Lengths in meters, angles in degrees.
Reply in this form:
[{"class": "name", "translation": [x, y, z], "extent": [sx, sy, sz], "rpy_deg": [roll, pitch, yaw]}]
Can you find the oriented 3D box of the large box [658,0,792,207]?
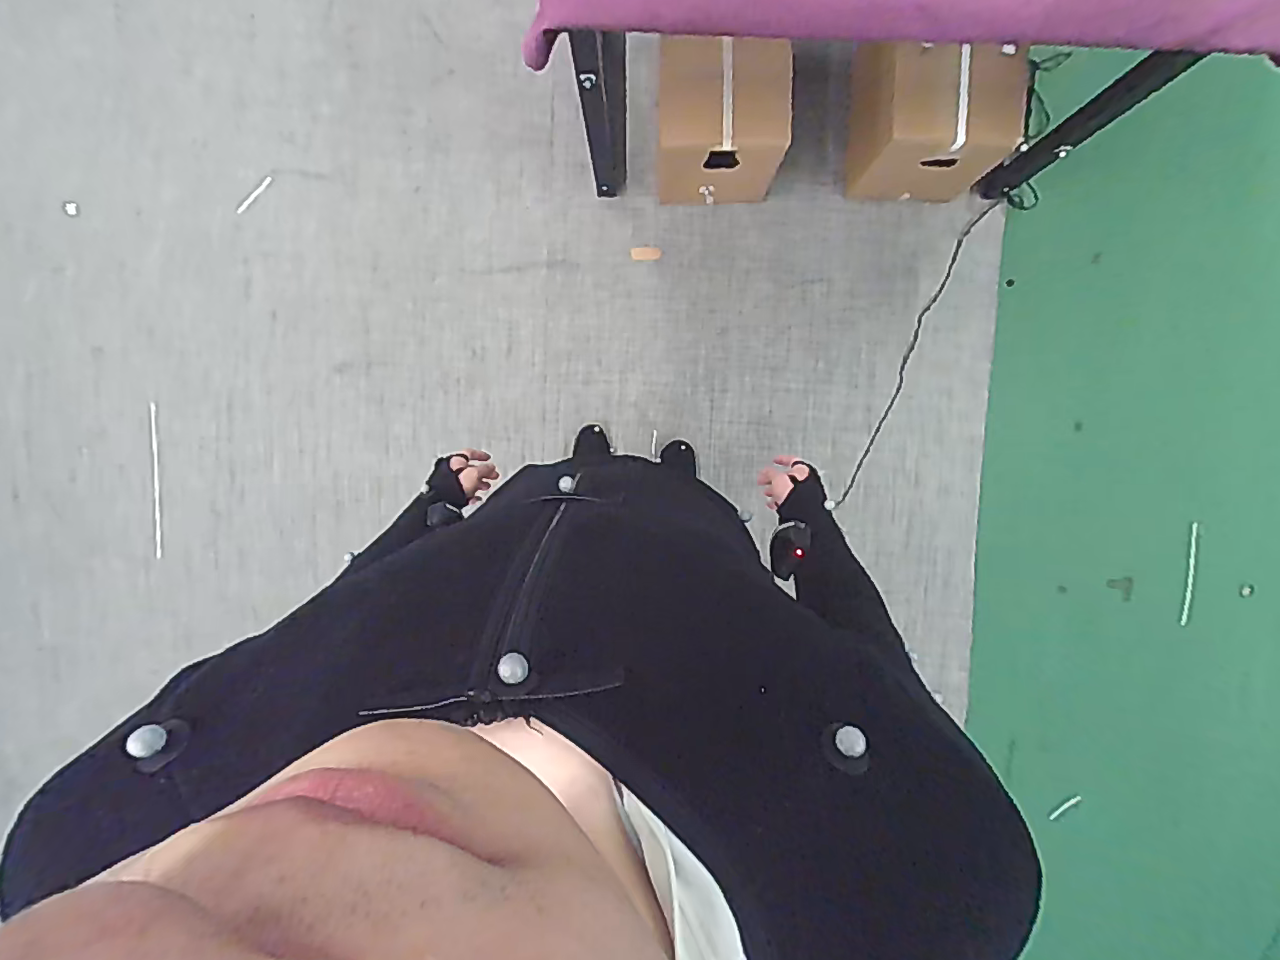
[{"class": "large box", "translation": [0.206, -0.995, 1.427], "extent": [0.320, 0.320, 0.408], "rpy_deg": [0, 92, 0]}]
